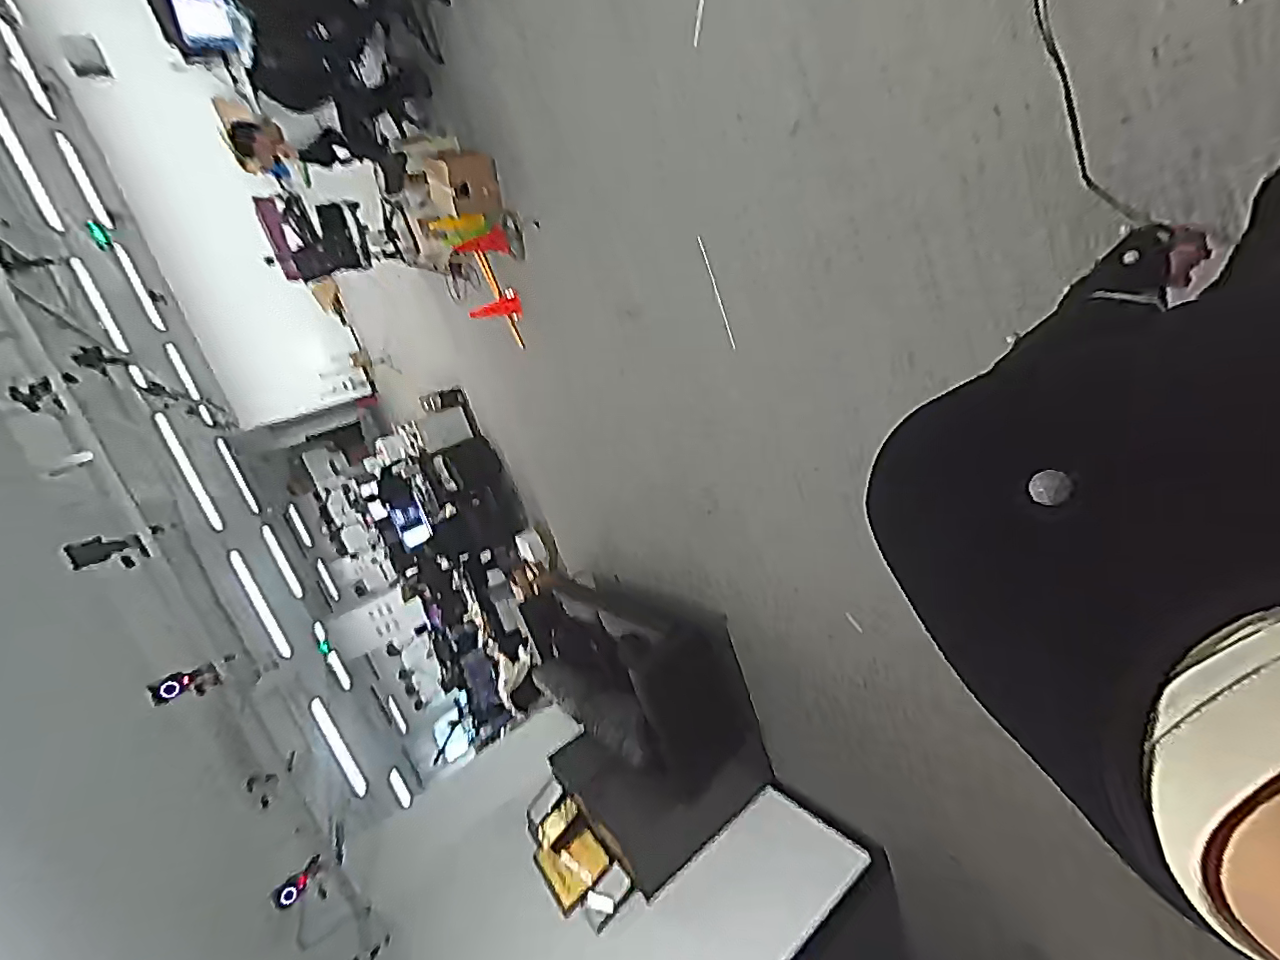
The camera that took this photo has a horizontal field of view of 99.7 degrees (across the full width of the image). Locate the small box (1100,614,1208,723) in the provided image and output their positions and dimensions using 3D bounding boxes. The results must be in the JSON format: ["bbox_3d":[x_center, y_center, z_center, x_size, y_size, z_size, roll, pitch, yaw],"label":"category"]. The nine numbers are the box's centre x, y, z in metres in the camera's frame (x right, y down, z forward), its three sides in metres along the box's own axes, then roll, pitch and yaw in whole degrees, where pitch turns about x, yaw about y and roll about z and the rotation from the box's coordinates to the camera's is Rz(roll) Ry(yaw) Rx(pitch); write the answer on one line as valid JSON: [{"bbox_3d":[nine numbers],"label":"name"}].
[{"bbox_3d":[1.352,0.488,1.423,0.168,0.176,0.179,17,126,51],"label":"small box"}]
